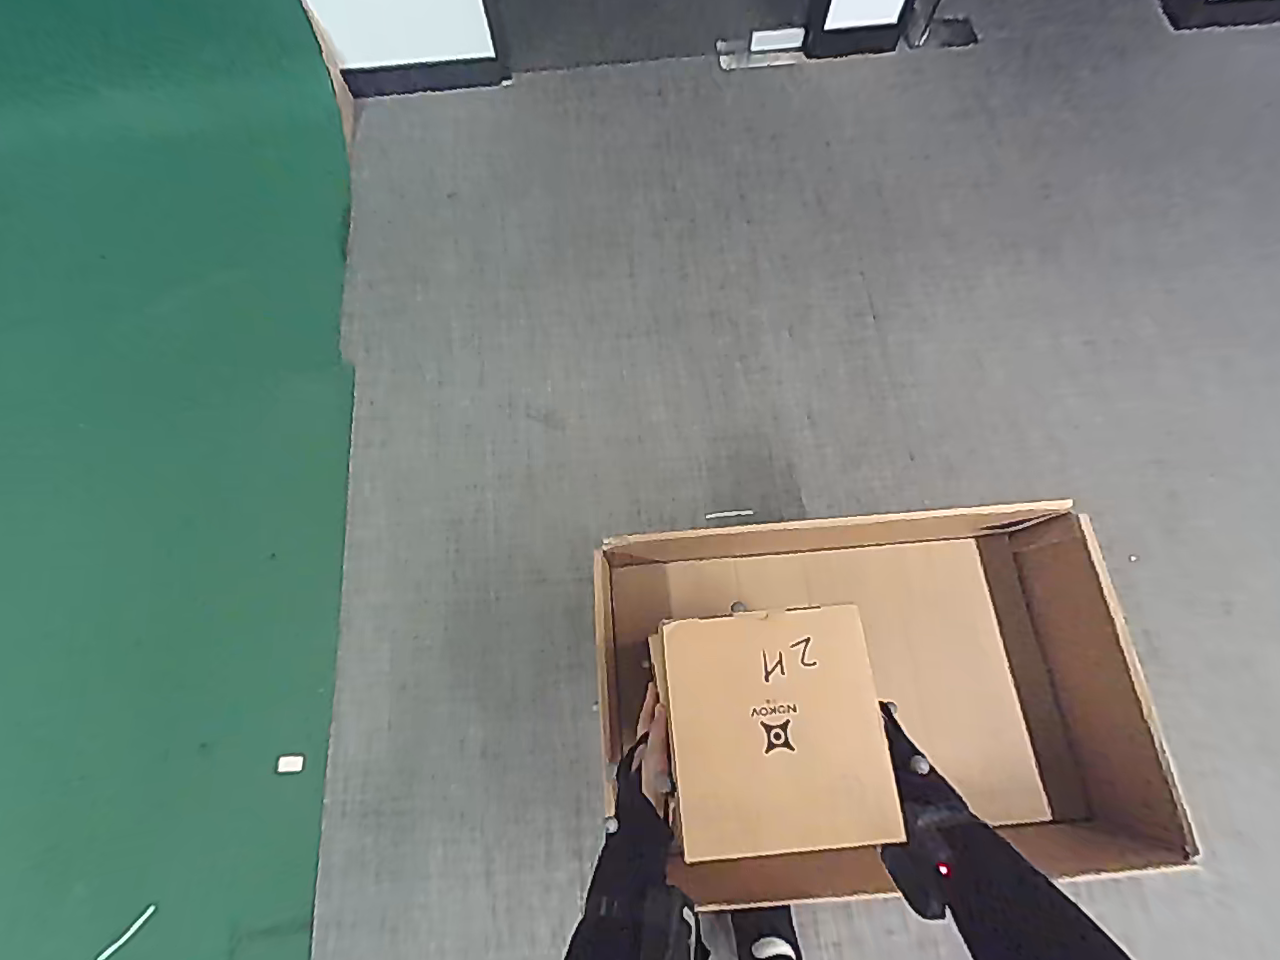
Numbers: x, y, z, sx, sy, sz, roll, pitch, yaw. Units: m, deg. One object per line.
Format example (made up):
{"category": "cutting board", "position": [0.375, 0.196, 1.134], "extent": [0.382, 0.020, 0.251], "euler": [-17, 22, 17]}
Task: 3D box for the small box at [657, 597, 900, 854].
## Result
{"category": "small box", "position": [0.105, 0.209, 0.494], "extent": [0.168, 0.176, 0.179], "euler": [-5, 71, 0]}
